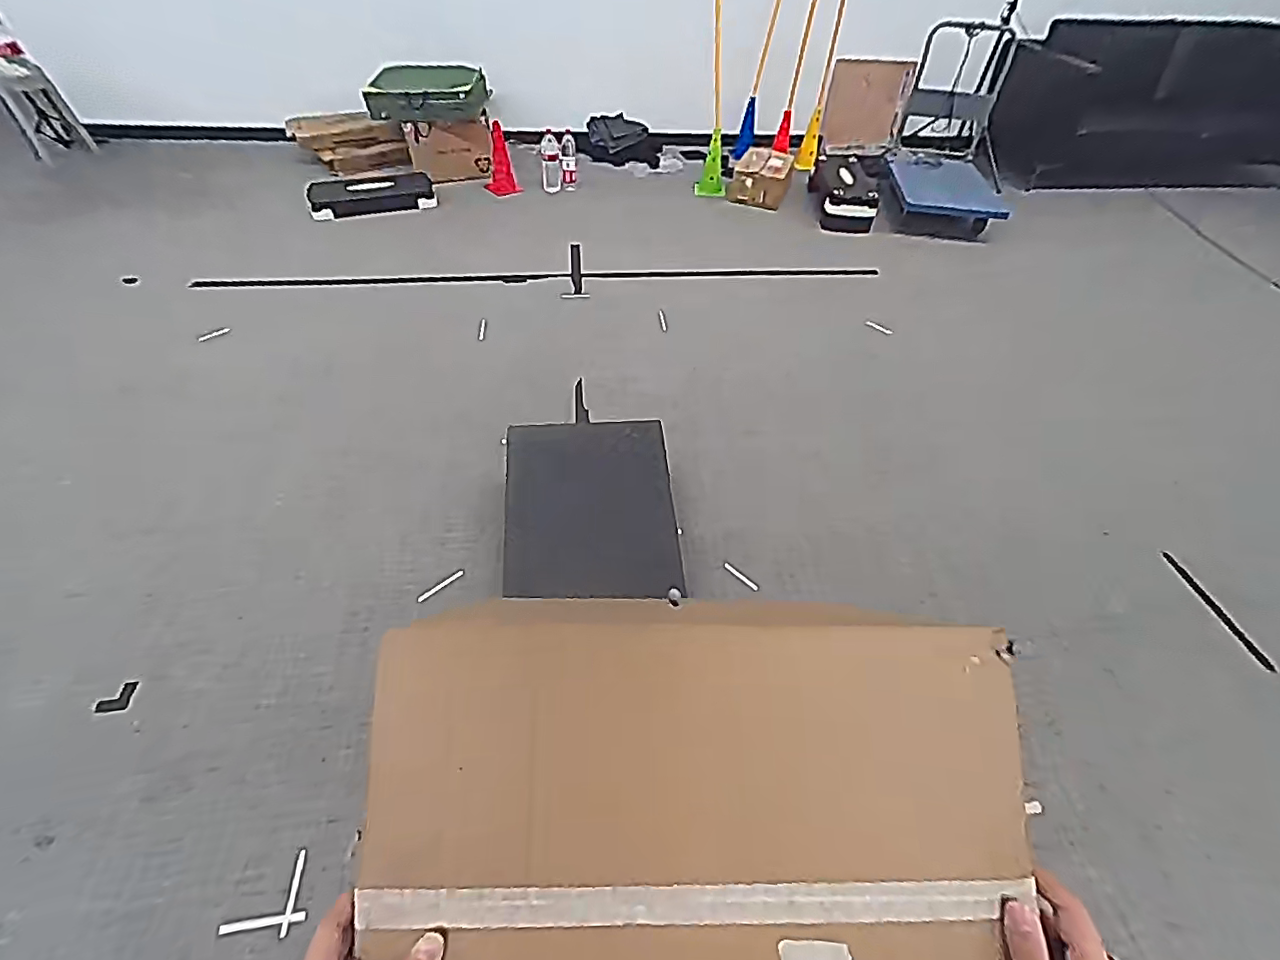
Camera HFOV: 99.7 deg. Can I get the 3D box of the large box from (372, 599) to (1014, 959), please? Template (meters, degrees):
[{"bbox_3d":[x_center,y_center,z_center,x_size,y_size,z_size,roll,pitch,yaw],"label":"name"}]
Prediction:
[{"bbox_3d":[0.028,0.275,0.486,0.408,0.320,0.320,0,82,-3],"label":"large box"}]
